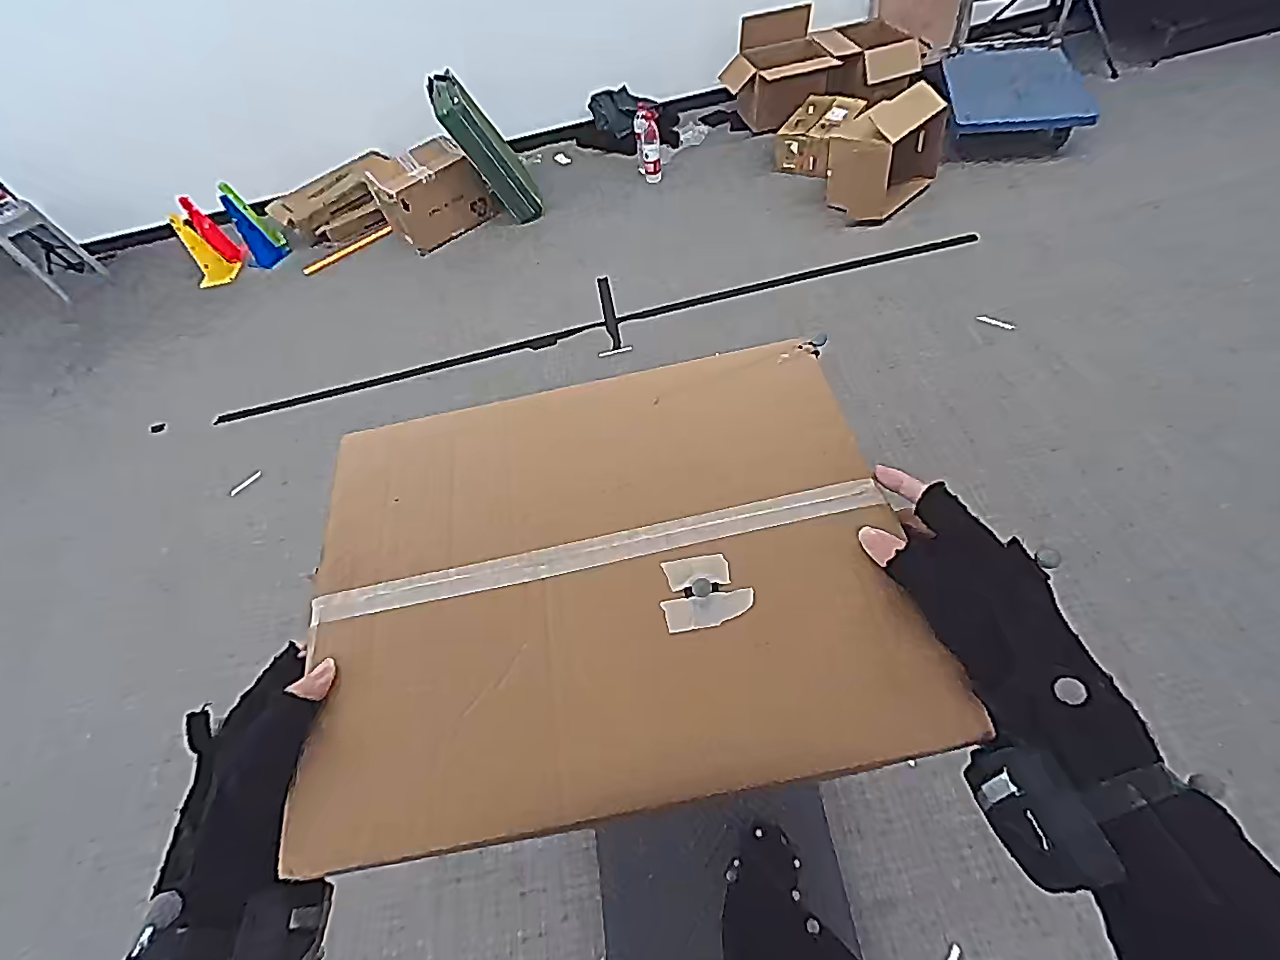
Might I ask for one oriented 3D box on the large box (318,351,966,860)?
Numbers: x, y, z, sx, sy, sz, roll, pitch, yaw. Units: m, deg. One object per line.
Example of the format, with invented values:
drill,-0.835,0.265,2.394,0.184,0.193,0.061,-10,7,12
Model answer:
large box,-0.009,0.132,0.522,0.408,0.320,0.320,-12,59,1
